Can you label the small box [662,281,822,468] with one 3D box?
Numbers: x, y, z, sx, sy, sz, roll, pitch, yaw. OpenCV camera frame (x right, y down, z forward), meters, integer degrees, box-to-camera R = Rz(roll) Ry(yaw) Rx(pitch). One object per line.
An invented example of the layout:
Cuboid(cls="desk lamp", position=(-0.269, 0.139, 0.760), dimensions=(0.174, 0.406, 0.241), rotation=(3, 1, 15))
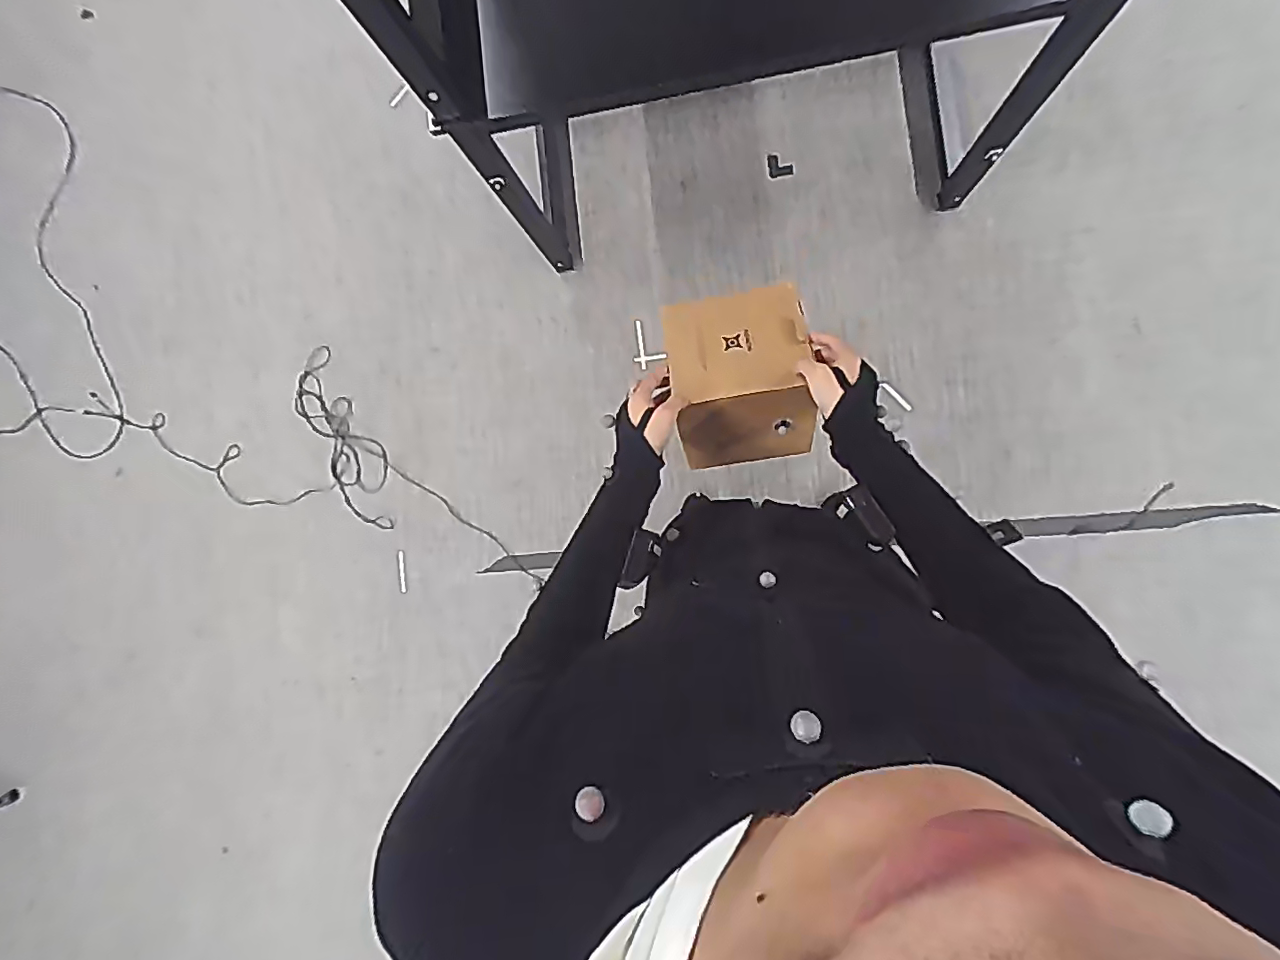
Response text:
Cuboid(cls="small box", position=(0.131, -0.132, 0.726), dimensions=(0.179, 0.176, 0.168), rotation=(-8, 62, 8))
